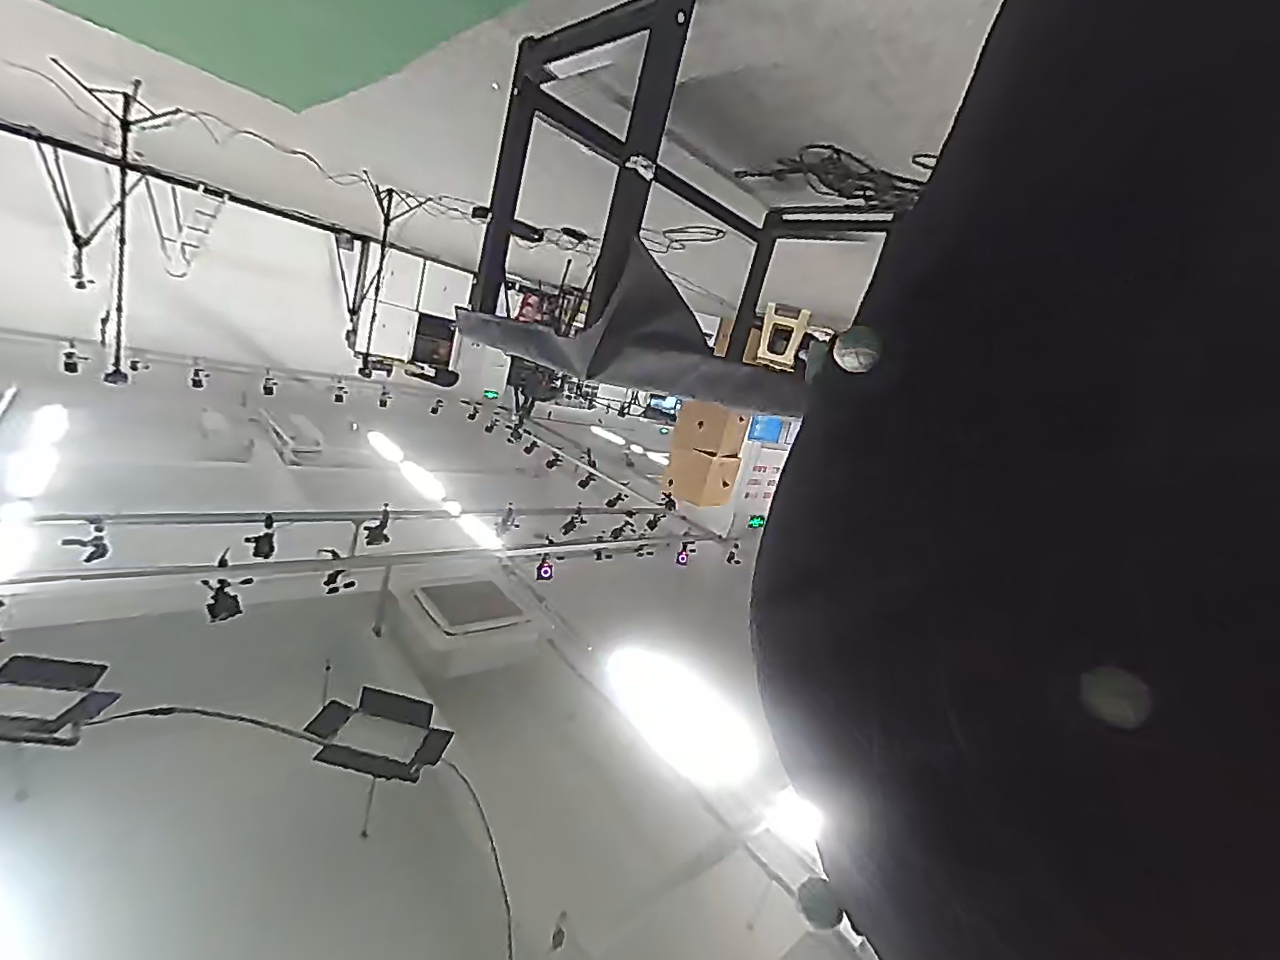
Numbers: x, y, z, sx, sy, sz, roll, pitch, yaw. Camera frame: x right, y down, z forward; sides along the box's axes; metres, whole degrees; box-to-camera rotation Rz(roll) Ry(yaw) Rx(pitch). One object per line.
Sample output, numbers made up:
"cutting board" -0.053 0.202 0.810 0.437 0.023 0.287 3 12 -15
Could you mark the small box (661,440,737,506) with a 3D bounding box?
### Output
"small box" 0.198 -0.027 1.766 0.179 0.176 0.168 26 -163 40
